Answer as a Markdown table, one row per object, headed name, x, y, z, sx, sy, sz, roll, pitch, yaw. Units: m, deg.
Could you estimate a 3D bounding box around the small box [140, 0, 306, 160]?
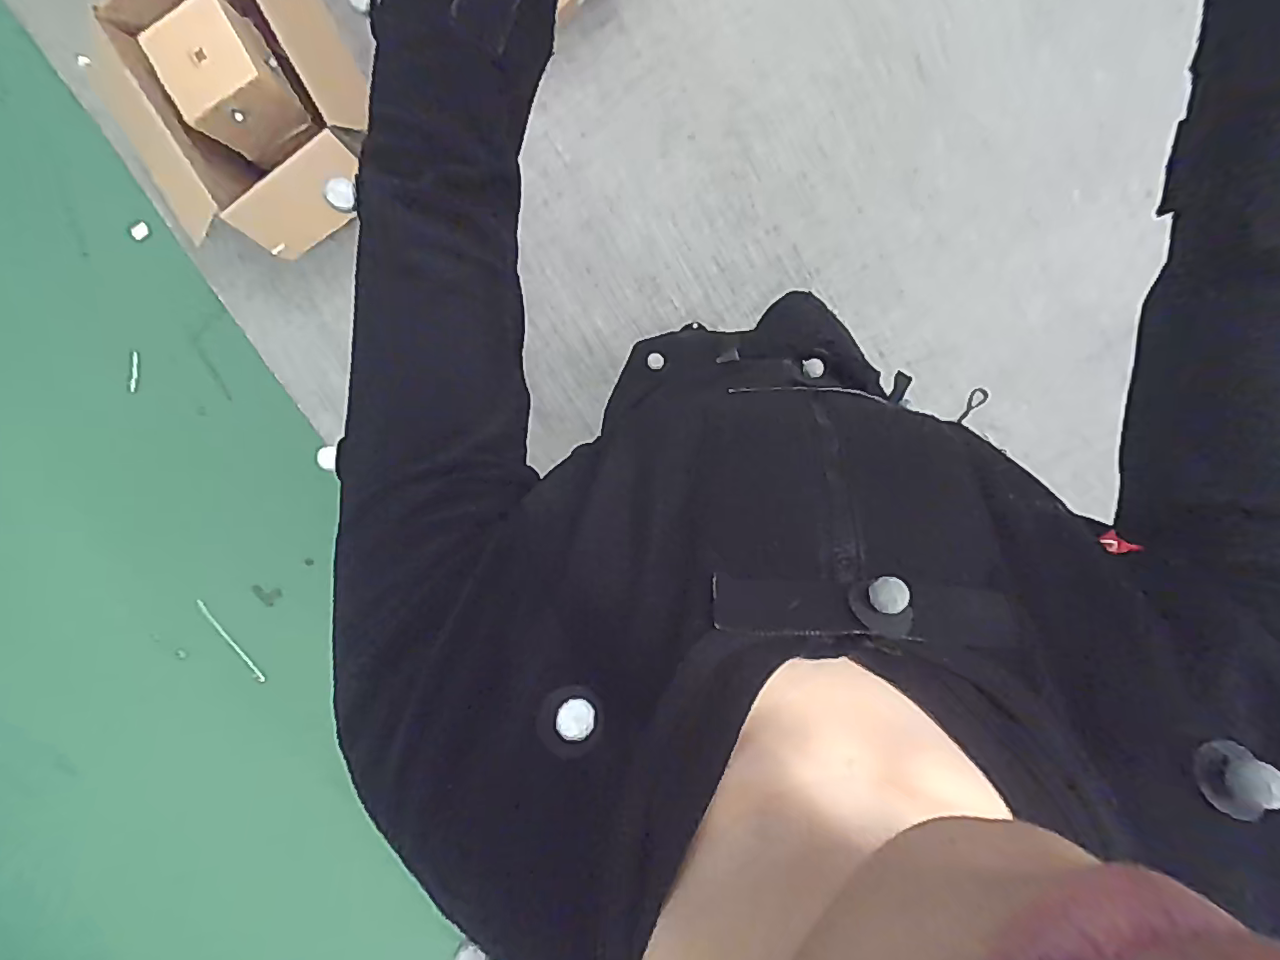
| name | x | y | z | sx | sy | sz | roll | pitch | yaw |
| --- | --- | --- | --- | --- | --- | --- | --- | --- | --- |
| small box | -0.815 | -0.789 | 1.086 | 0.179 | 0.176 | 0.168 | -27 | 98 | 7 |
